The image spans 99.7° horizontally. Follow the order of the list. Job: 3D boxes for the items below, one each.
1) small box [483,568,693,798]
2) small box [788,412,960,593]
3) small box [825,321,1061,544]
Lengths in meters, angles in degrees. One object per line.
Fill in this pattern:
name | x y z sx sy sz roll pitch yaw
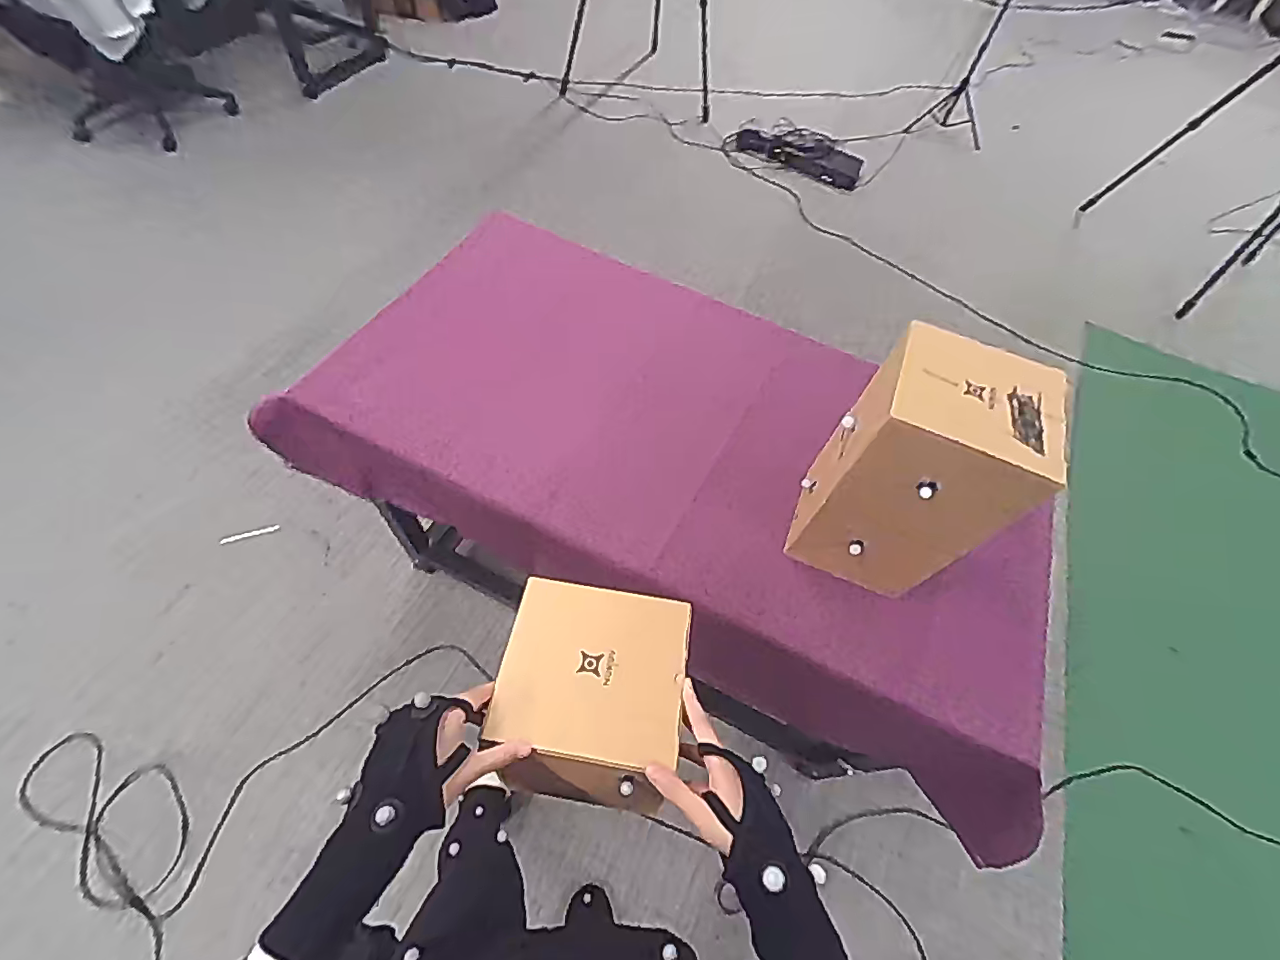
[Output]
small box | -0.048 0.220 0.579 0.179 0.176 0.168 10 47 2
small box | 0.332 0.039 0.776 0.179 0.176 0.168 22 58 9
small box | 0.346 -0.047 0.636 0.179 0.176 0.168 23 57 9
